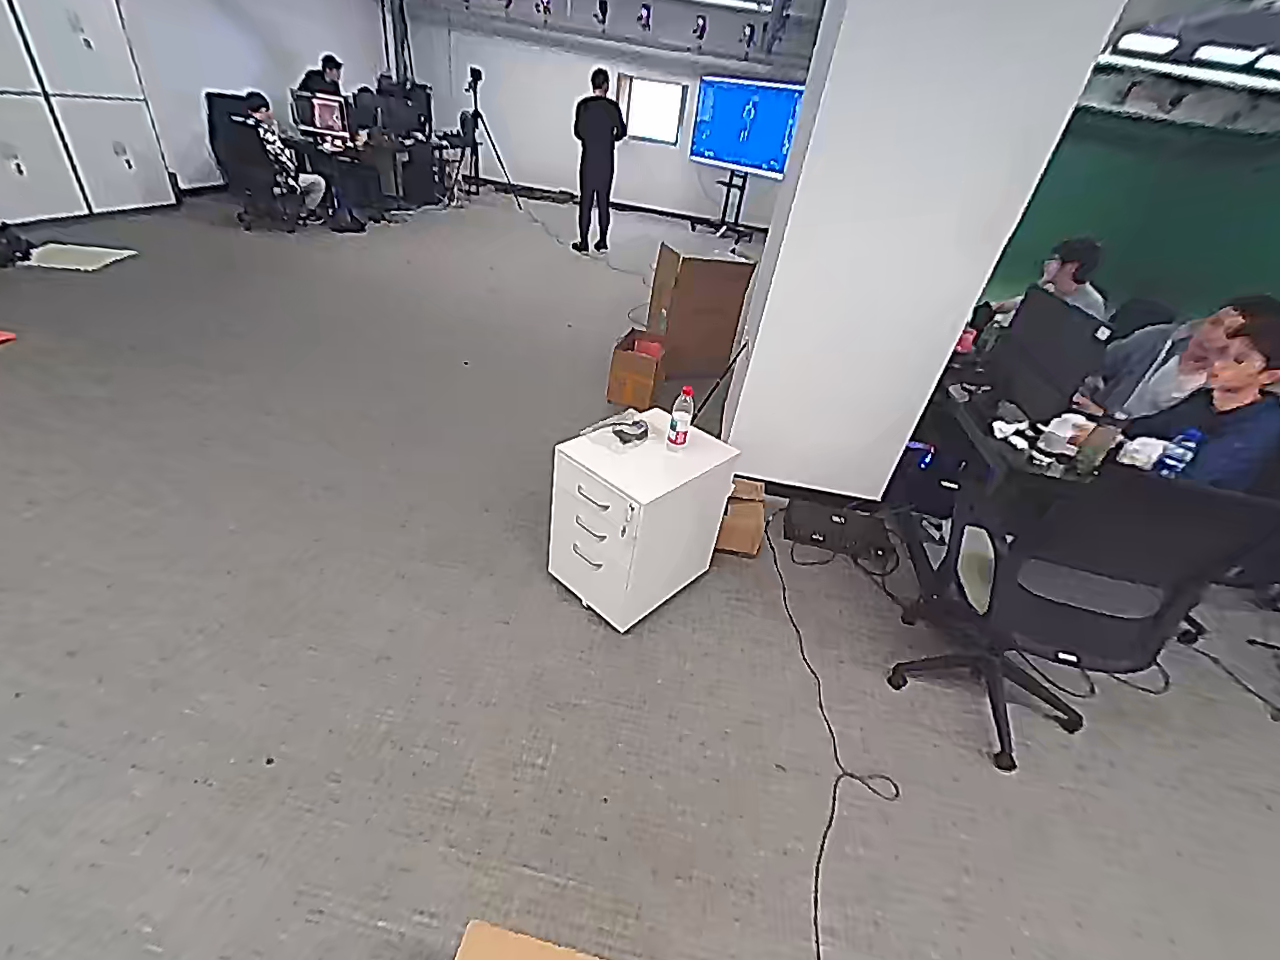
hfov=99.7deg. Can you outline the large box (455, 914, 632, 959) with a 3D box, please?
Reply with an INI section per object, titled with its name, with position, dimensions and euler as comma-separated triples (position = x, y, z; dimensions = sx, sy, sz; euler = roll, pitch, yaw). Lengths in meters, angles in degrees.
[large box]
position = -0.164, 1.031, 0.923
dimensions = 0.408, 0.320, 0.320
euler = 14, 35, 5
